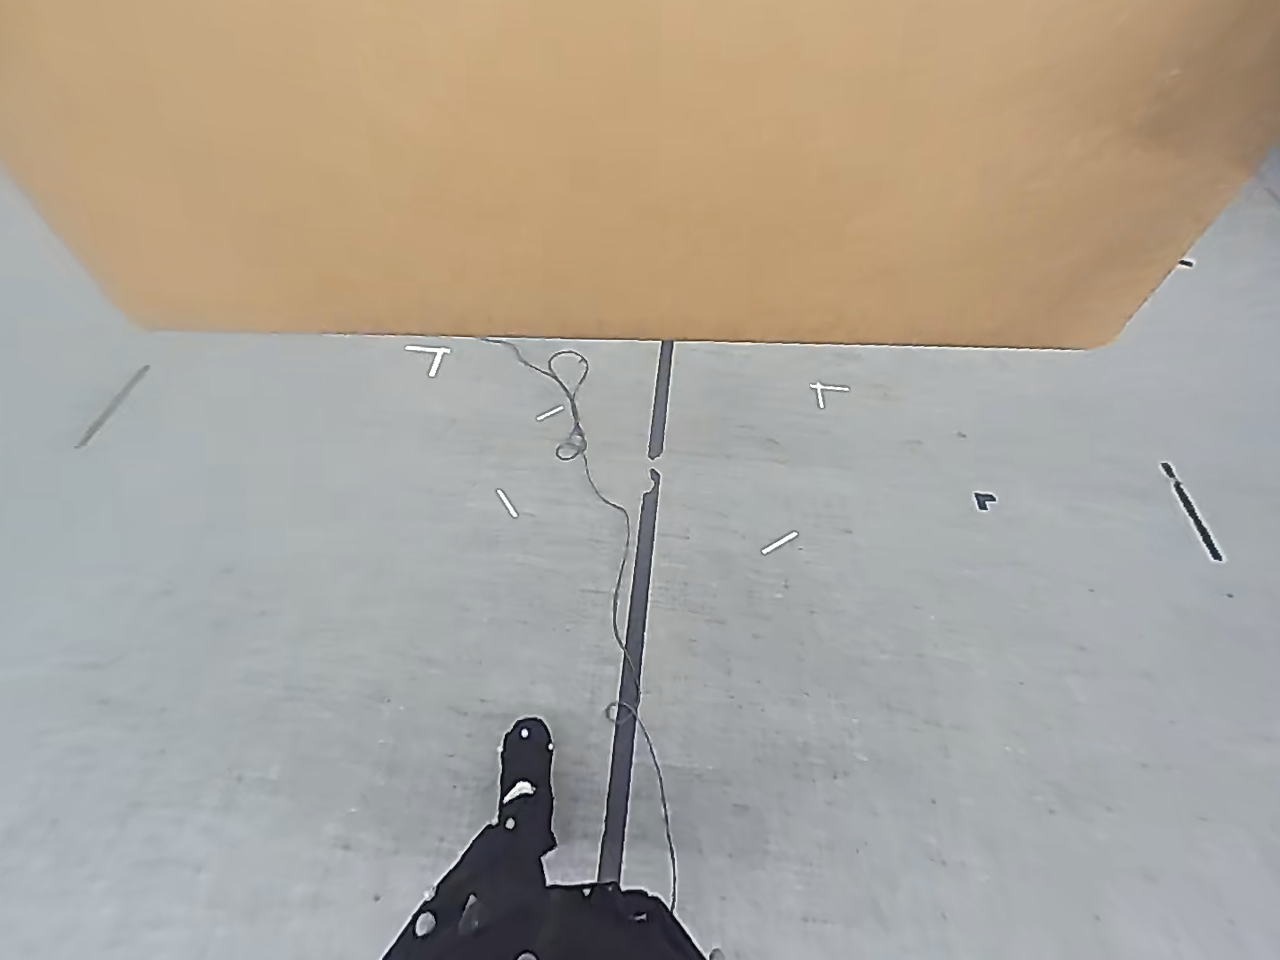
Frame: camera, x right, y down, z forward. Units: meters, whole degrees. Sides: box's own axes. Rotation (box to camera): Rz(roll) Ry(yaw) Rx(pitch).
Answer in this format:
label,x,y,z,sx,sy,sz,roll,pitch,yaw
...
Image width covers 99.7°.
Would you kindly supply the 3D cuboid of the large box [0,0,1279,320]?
label,x,y,z,sx,sy,sz,roll,pitch,yaw
large box,-0.001,-0.281,0.213,0.408,0.320,0.320,1,51,-2
